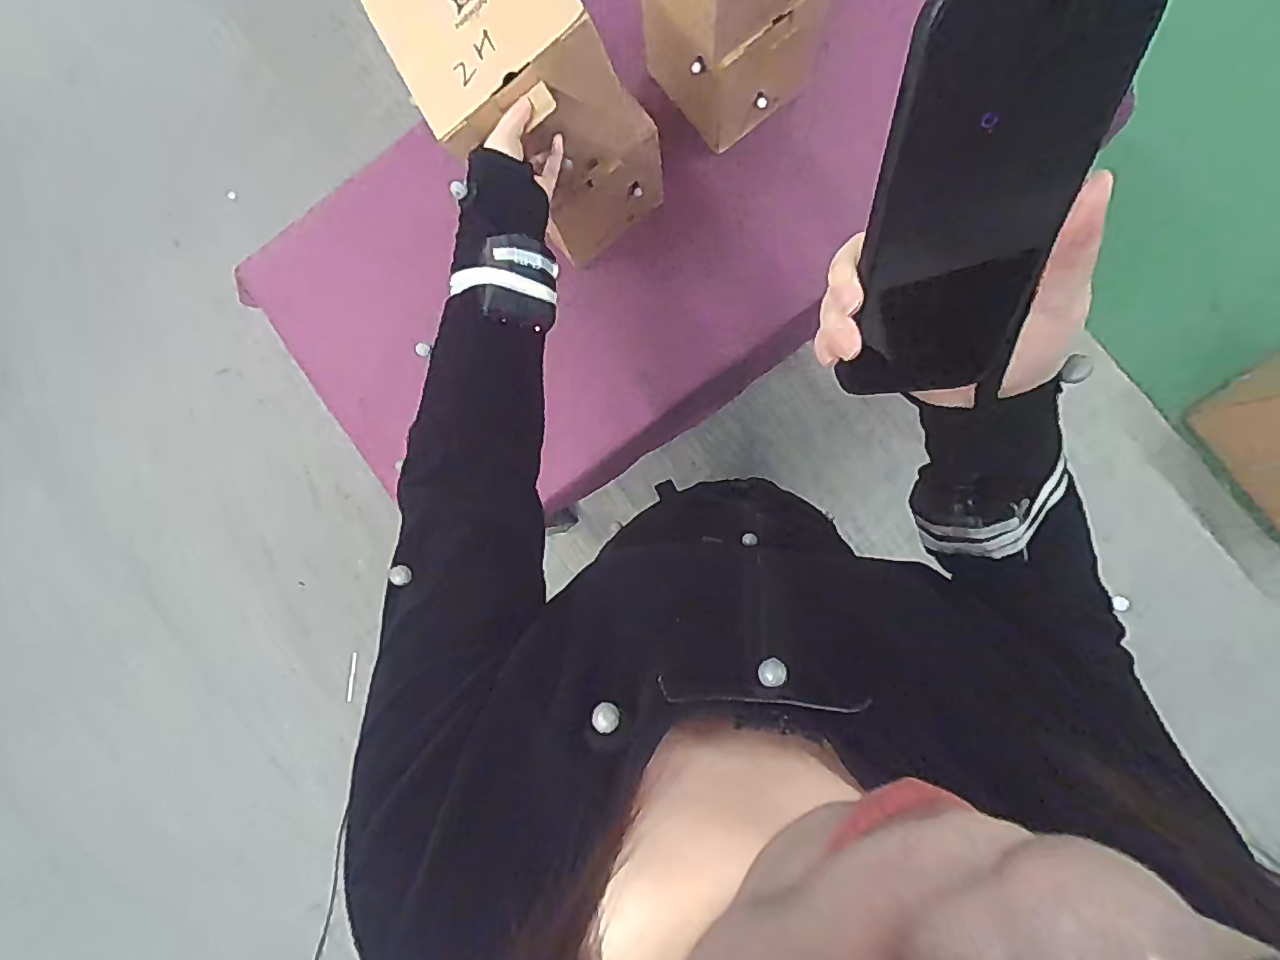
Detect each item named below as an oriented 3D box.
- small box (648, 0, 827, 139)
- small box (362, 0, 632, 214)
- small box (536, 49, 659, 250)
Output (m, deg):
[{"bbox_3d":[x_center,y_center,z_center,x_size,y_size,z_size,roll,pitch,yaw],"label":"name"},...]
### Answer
[{"bbox_3d":[0.119,-0.609,0.715,0.168,0.176,0.179,-37,86,3],"label":"small box"},{"bbox_3d":[-0.132,-0.415,0.546,0.168,0.176,0.179,-30,82,14],"label":"small box"},{"bbox_3d":[-0.087,-0.442,0.731,0.168,0.176,0.179,-37,84,3],"label":"small box"}]
